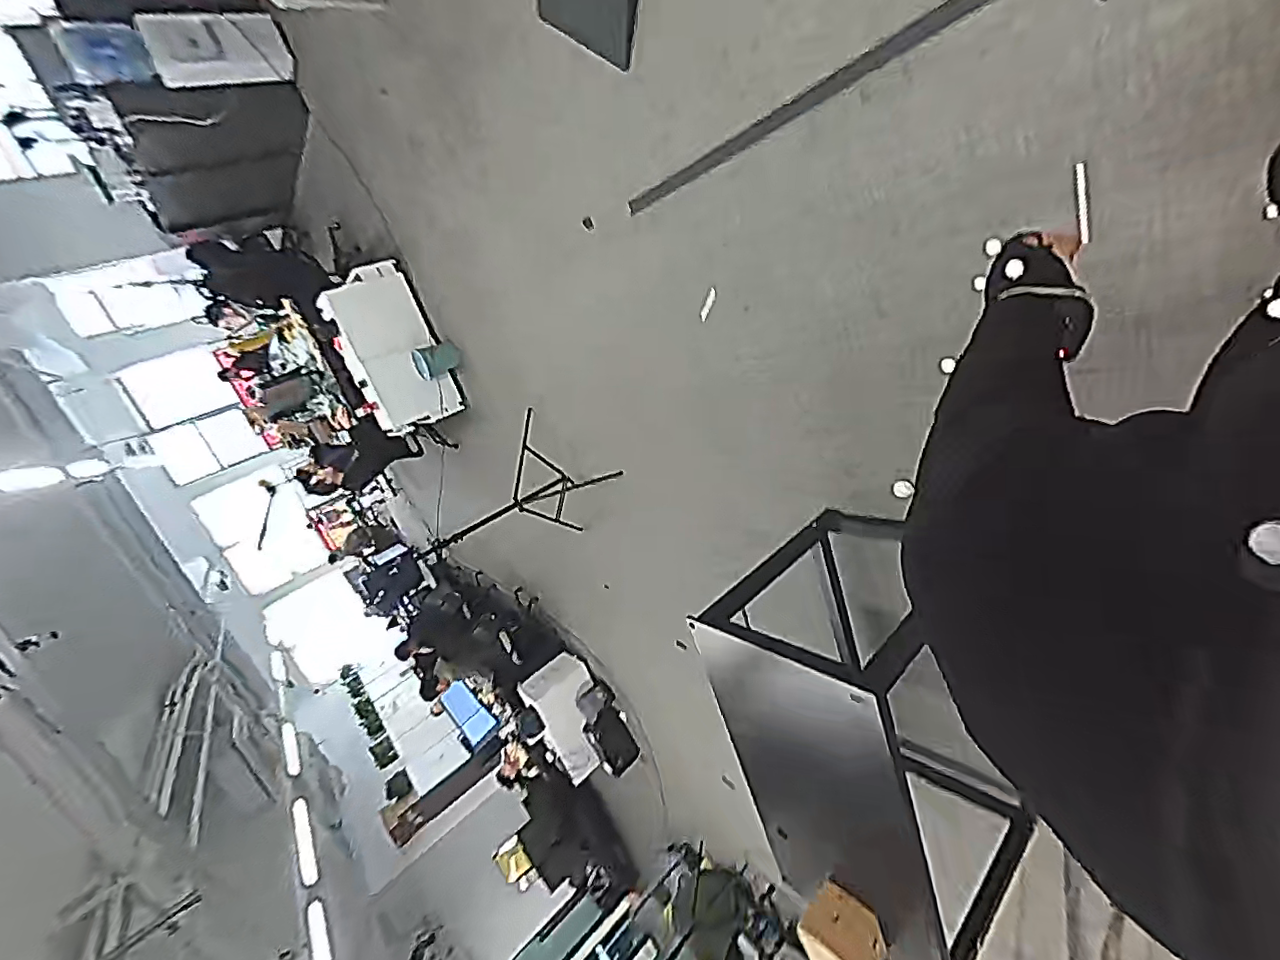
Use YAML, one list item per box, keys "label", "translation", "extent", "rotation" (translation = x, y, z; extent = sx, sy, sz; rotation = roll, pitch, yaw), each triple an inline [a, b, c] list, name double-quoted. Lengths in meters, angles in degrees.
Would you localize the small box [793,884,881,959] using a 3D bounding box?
- label: "small box"
  translation: [0.592, 1.376, 1.620]
  extent: [0.168, 0.176, 0.179]
  rotation: [3, 118, 54]
